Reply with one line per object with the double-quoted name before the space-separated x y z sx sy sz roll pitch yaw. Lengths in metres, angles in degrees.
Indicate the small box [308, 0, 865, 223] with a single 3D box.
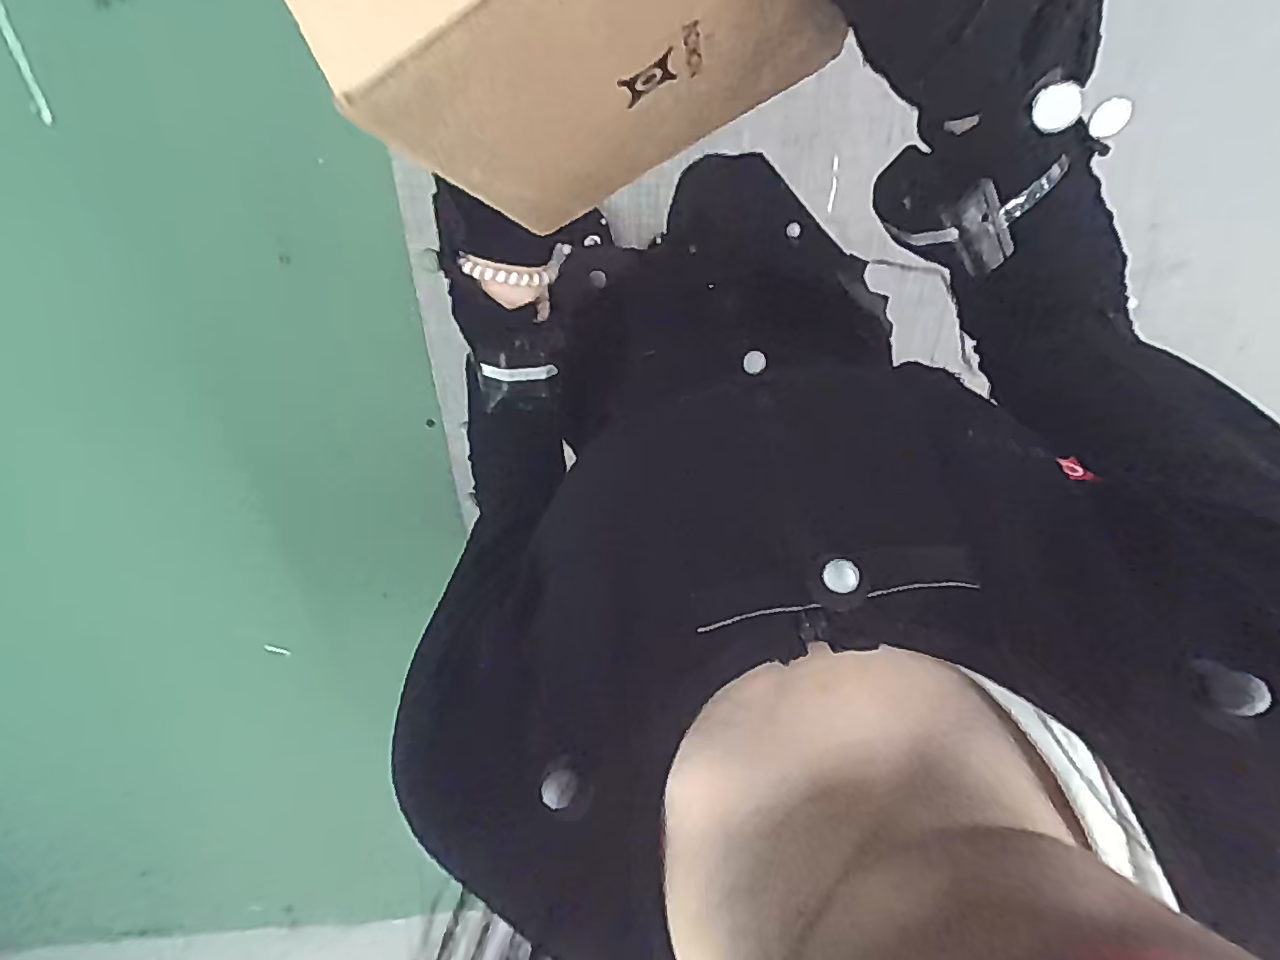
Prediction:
"small box" -0.024 -0.230 0.188 0.179 0.168 0.176 -24 98 12
